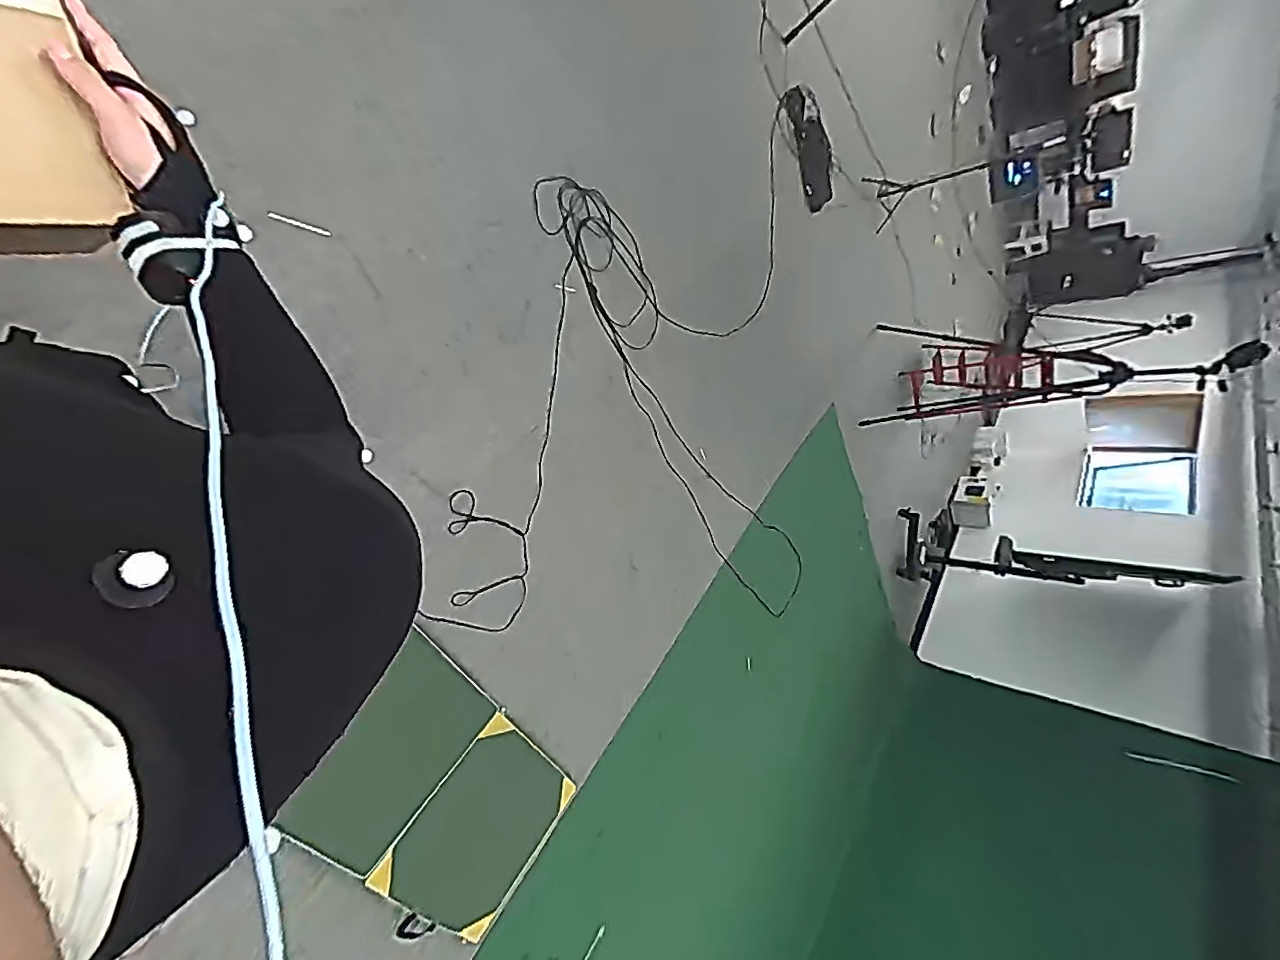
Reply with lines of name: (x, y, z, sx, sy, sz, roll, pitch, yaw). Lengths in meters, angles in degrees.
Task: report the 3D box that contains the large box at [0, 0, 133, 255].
large box: (-0.708, -0.334, 0.390, 0.408, 0.320, 0.320, -26, 120, -44)
